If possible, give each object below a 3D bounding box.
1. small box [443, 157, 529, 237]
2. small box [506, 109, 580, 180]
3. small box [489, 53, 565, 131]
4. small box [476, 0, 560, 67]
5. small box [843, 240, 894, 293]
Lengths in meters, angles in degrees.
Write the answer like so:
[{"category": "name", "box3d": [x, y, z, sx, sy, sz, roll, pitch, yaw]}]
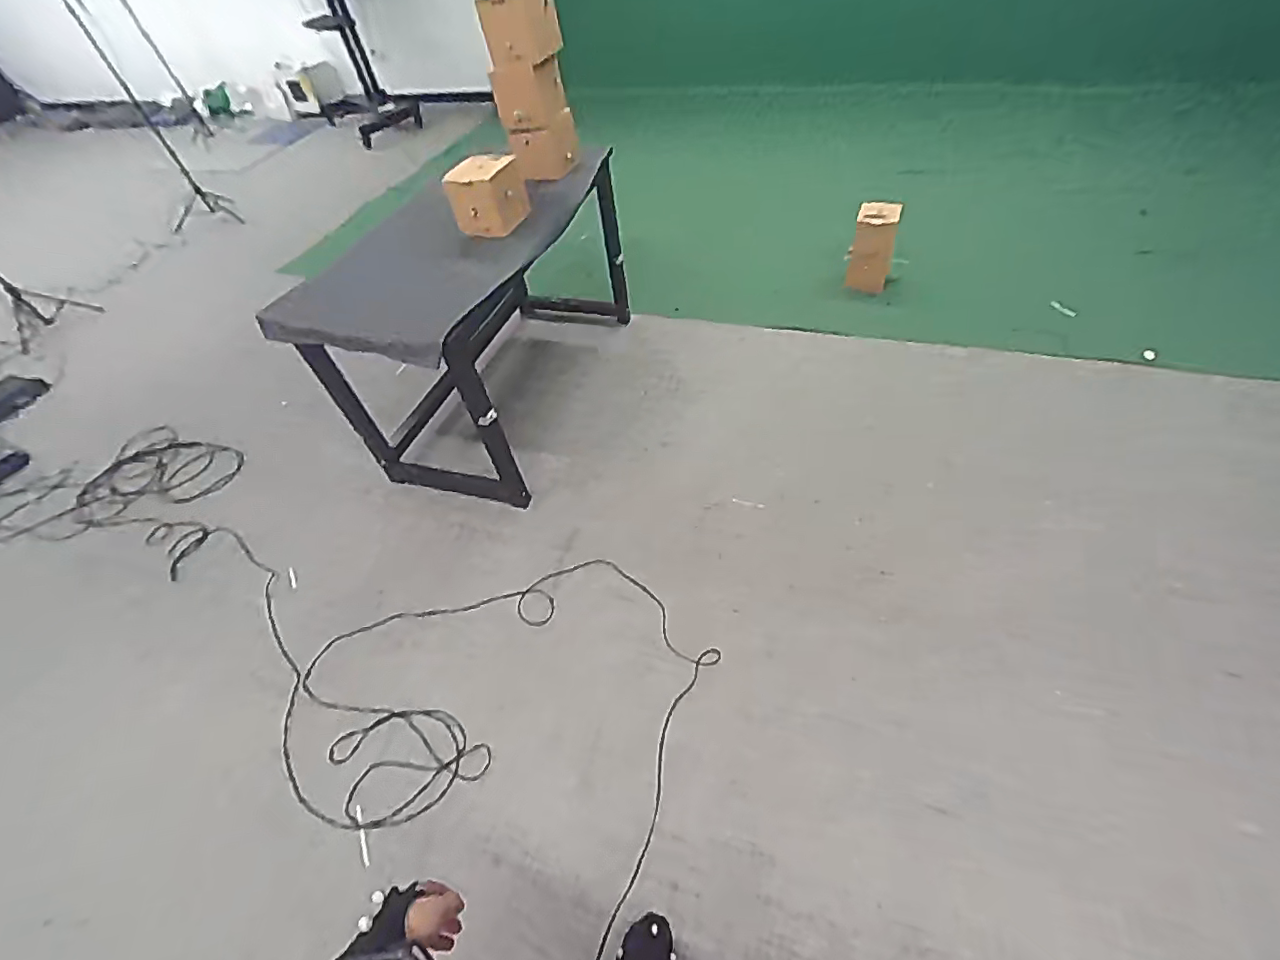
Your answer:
[{"category": "small box", "box3d": [-0.462, -0.868, 1.660, 0.168, 0.176, 0.179, 12, 54, 18]}, {"category": "small box", "box3d": [-0.333, -1.173, 1.893, 0.179, 0.176, 0.168, 14, 55, 21]}, {"category": "small box", "box3d": [-0.359, -1.268, 1.764, 0.168, 0.176, 0.179, 7, 53, 17]}, {"category": "small box", "box3d": [-0.359, -1.380, 1.640, 0.168, 0.176, 0.179, 11, 53, 21]}, {"category": "small box", "box3d": [1.061, -0.993, 2.518, 0.179, 0.176, 0.168, 14, 54, 19]}]
